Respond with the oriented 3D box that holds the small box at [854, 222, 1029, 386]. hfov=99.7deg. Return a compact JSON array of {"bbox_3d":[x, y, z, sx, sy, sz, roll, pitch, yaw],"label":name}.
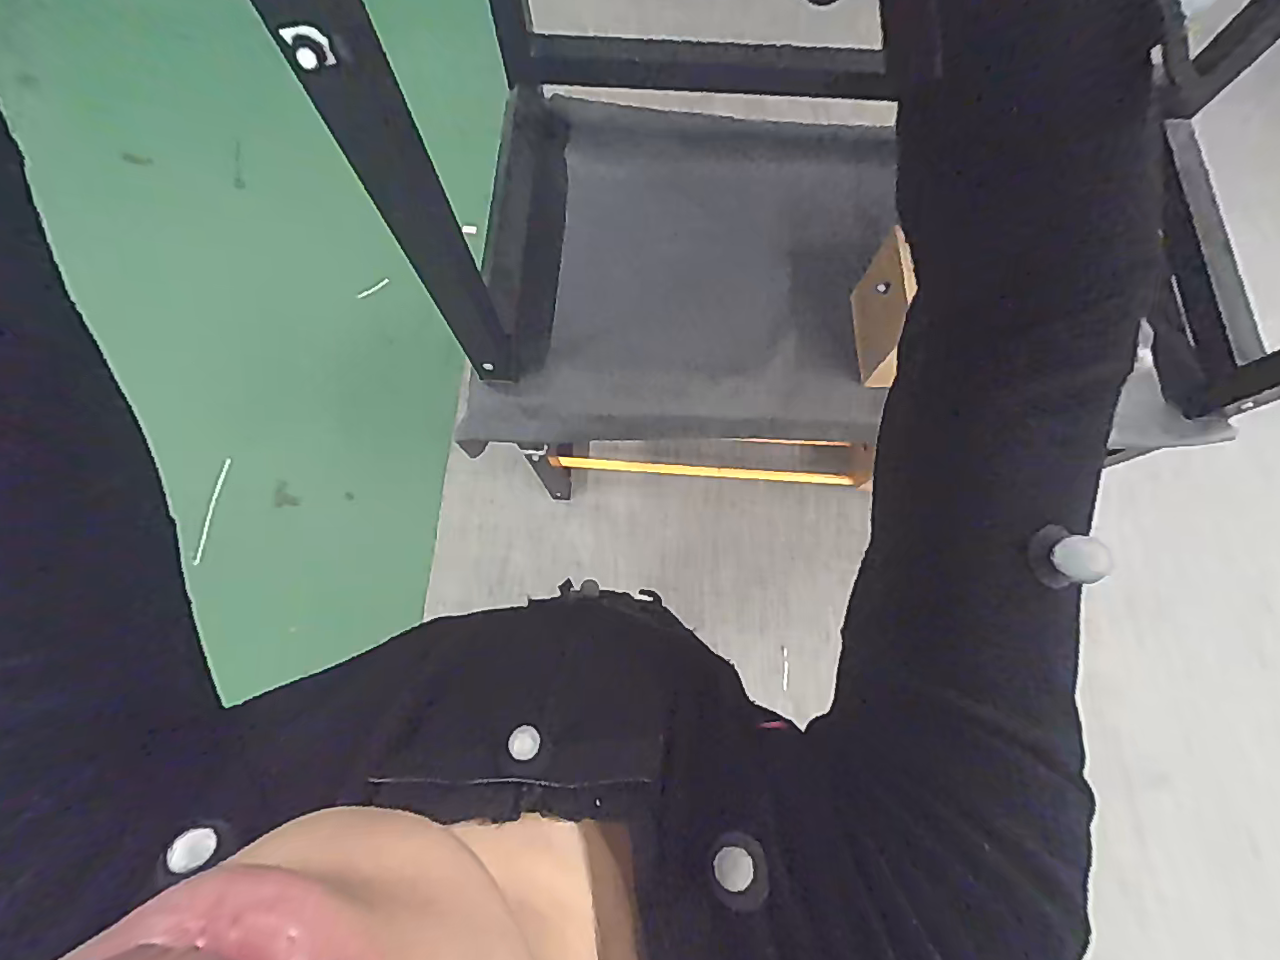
[{"bbox_3d":[0.445,-0.263,0.830,0.168,0.176,0.179,1,73,0],"label":"small box"}]
